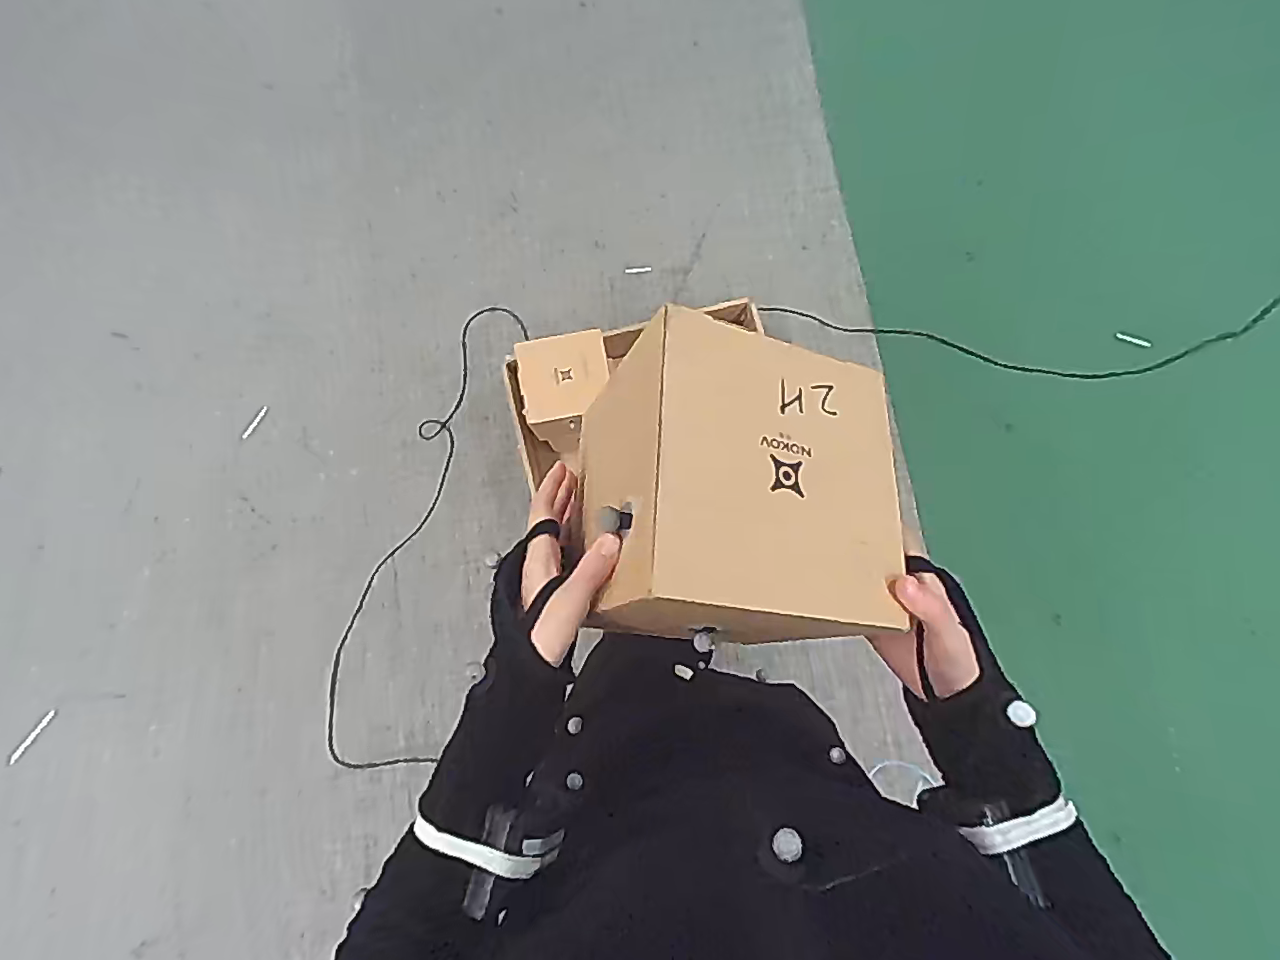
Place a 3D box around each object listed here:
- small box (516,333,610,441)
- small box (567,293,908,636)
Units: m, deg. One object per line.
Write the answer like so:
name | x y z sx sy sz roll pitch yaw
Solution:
small box | -0.146 -0.185 1.124 0.179 0.176 0.168 -10 83 -4
small box | 0.053 0.011 0.383 0.168 0.176 0.179 12 66 -20
